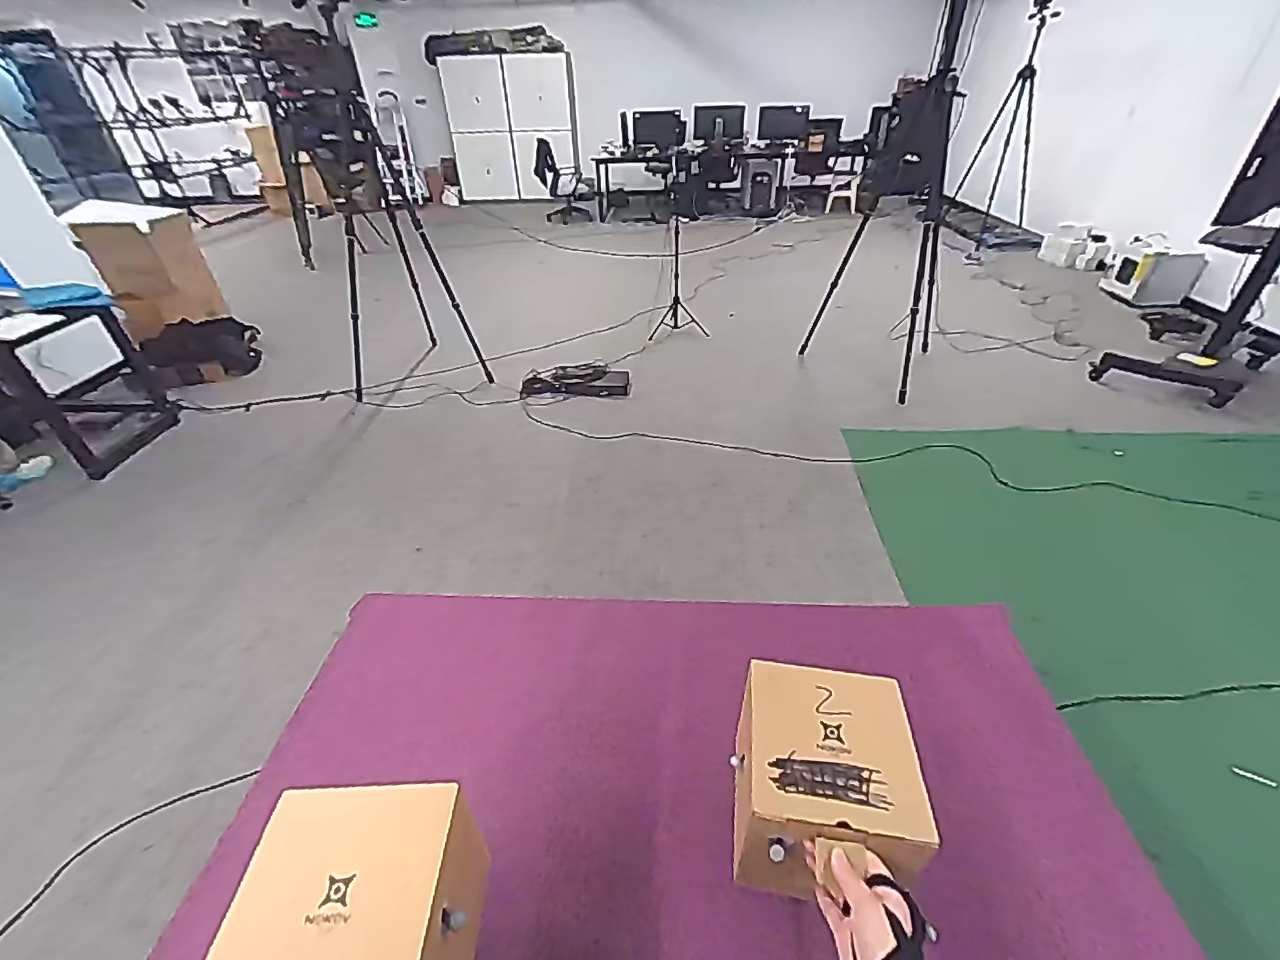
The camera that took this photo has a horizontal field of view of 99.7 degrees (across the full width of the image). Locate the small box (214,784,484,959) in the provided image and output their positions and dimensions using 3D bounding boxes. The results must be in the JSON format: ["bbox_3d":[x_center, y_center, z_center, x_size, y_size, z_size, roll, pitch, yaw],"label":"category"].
[{"bbox_3d":[-0.251,0.413,0.503,0.168,0.176,0.179,-2,37,-2],"label":"small box"}]
